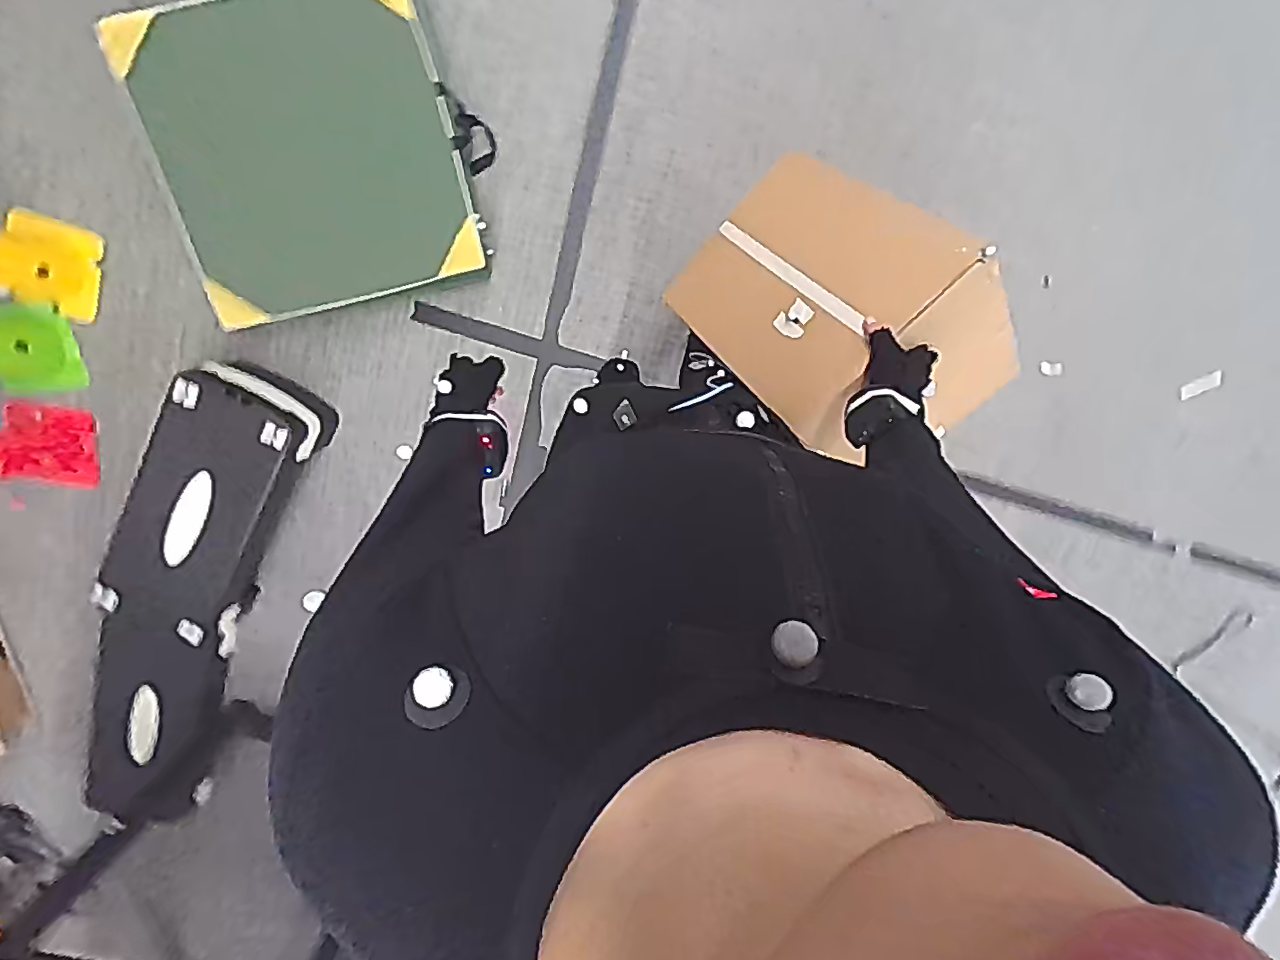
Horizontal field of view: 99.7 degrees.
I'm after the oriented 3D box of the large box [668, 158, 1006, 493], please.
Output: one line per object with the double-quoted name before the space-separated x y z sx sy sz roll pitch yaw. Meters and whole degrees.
"large box" 0.321 -0.250 0.918 0.320 0.408 0.320 -44 141 17
